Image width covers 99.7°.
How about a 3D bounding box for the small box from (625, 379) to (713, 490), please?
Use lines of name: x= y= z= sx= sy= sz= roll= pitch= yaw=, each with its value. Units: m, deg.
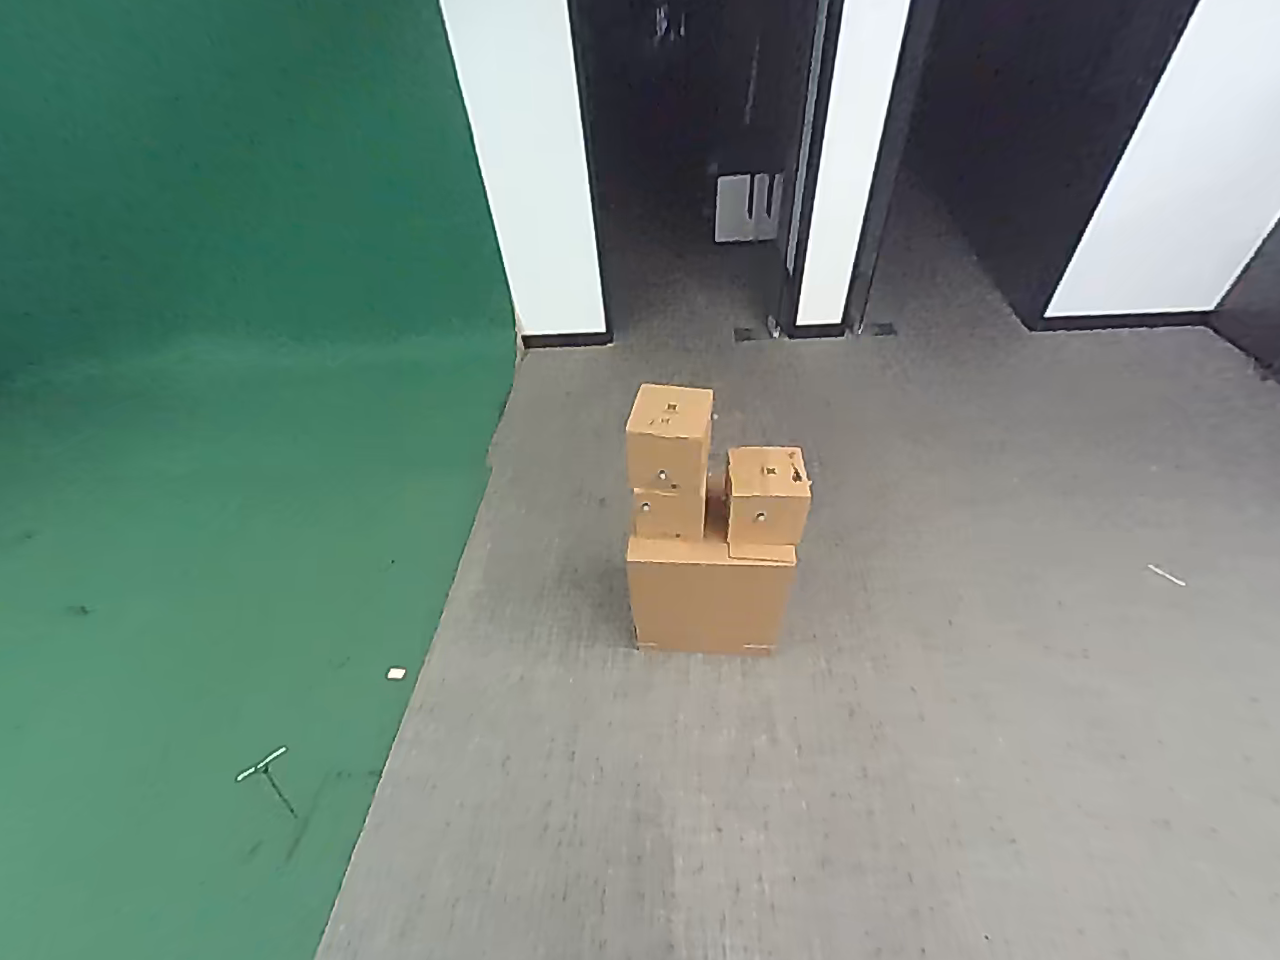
small box: x=0.069 y=-0.104 z=1.221 sx=0.168 sy=0.176 sz=0.179 roll=6 pitch=47 yaw=11
